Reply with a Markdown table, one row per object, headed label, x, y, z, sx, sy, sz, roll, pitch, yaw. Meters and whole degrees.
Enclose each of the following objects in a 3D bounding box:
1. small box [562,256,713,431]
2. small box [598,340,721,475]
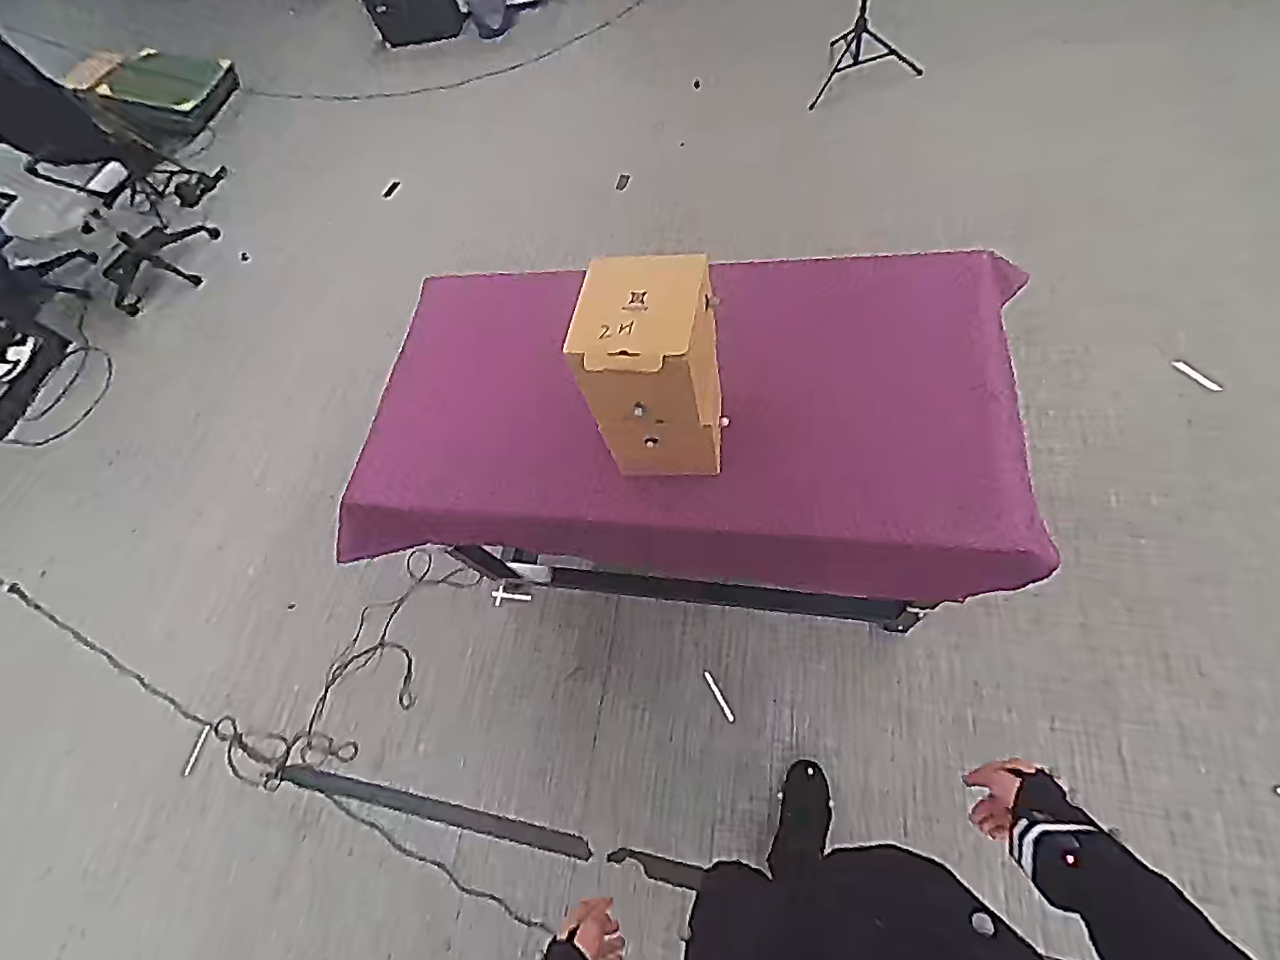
| label | x | y | z | sx | sy | sz | roll | pitch | yaw |
| --- | --- | --- | --- | --- | --- | --- | --- | --- | --- |
| small box | 0.009 | -0.192 | 0.772 | 0.168 | 0.176 | 0.179 | 4 | 65 | 15 |
| small box | 0.042 | -0.115 | 0.915 | 0.179 | 0.176 | 0.168 | -1 | 64 | 12 |
